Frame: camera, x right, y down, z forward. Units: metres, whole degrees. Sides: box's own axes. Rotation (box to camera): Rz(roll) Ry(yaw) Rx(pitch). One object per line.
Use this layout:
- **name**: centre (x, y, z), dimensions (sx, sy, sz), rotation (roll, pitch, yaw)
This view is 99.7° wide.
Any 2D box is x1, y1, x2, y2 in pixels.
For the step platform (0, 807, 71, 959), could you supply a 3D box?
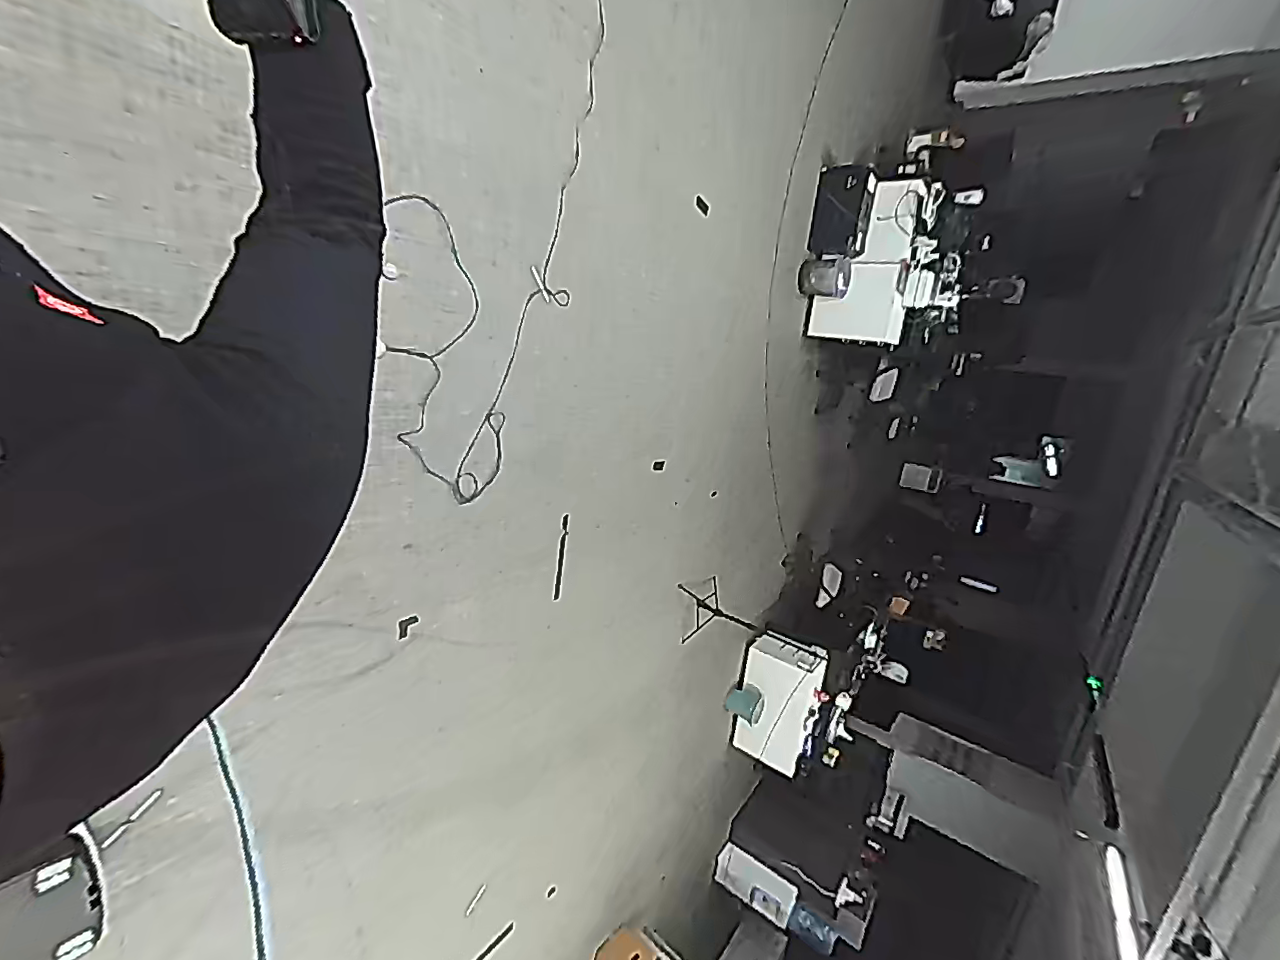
- **step platform**: centre (-1.428, 0.887, 0.885), dimensions (0.684, 0.204, 0.286), rotation (-14, 115, -51)
